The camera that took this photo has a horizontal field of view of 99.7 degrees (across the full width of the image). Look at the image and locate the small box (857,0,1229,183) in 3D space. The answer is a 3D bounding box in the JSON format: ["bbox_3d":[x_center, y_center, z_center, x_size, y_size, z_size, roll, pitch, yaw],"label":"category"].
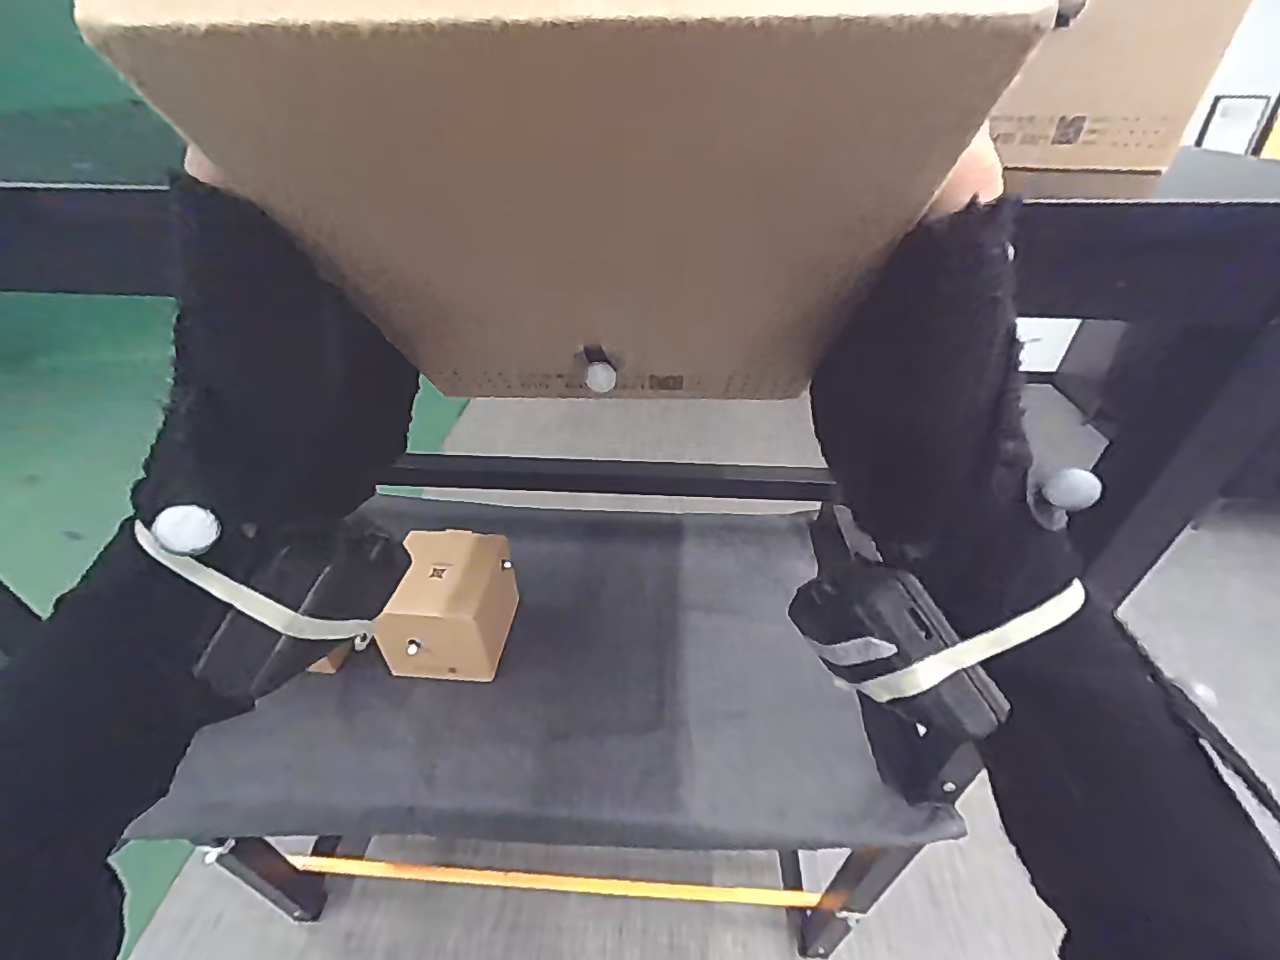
[{"bbox_3d":[0.252,-0.306,0.359,0.168,0.176,0.179,9,39,11],"label":"small box"}]

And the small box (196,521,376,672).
[{"bbox_3d":[-0.566,0.191,0.901,0.168,0.176,0.179,3,38,3],"label":"small box"}]

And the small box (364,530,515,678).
[{"bbox_3d":[-0.314,0.205,0.892,0.168,0.176,0.179,3,38,3],"label":"small box"}]
